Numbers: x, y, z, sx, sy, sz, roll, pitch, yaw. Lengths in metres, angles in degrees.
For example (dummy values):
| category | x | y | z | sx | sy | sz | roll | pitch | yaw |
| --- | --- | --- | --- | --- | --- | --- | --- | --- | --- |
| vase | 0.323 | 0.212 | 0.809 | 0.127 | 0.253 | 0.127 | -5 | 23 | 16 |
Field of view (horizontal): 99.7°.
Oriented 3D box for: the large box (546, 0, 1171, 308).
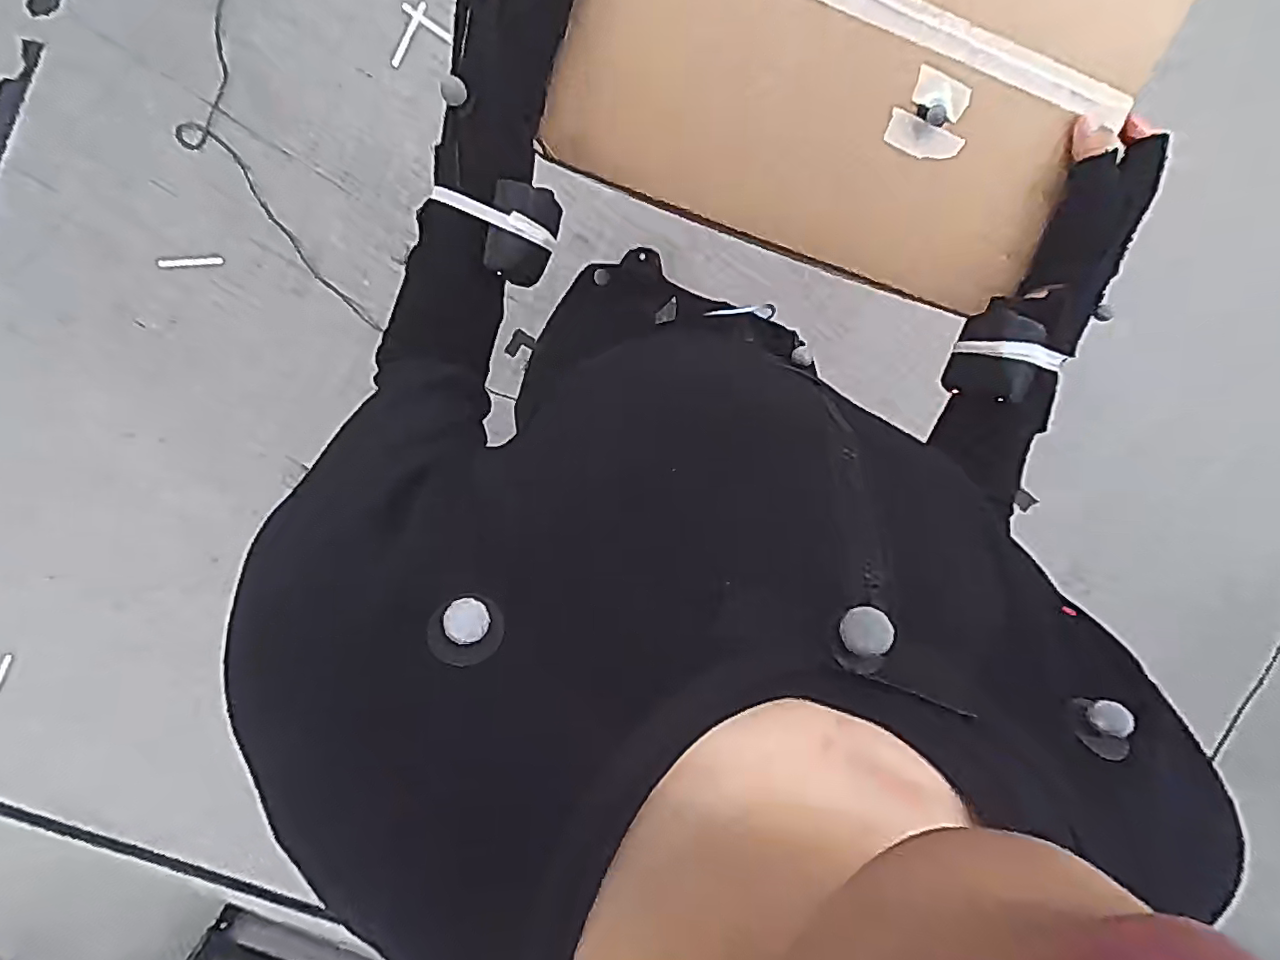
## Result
| category | x | y | z | sx | sy | sz | roll | pitch | yaw |
| --- | --- | --- | --- | --- | --- | --- | --- | --- | --- |
| large box | 0.155 | -0.399 | 0.509 | 0.408 | 0.320 | 0.320 | 16 | 117 | -10 |
